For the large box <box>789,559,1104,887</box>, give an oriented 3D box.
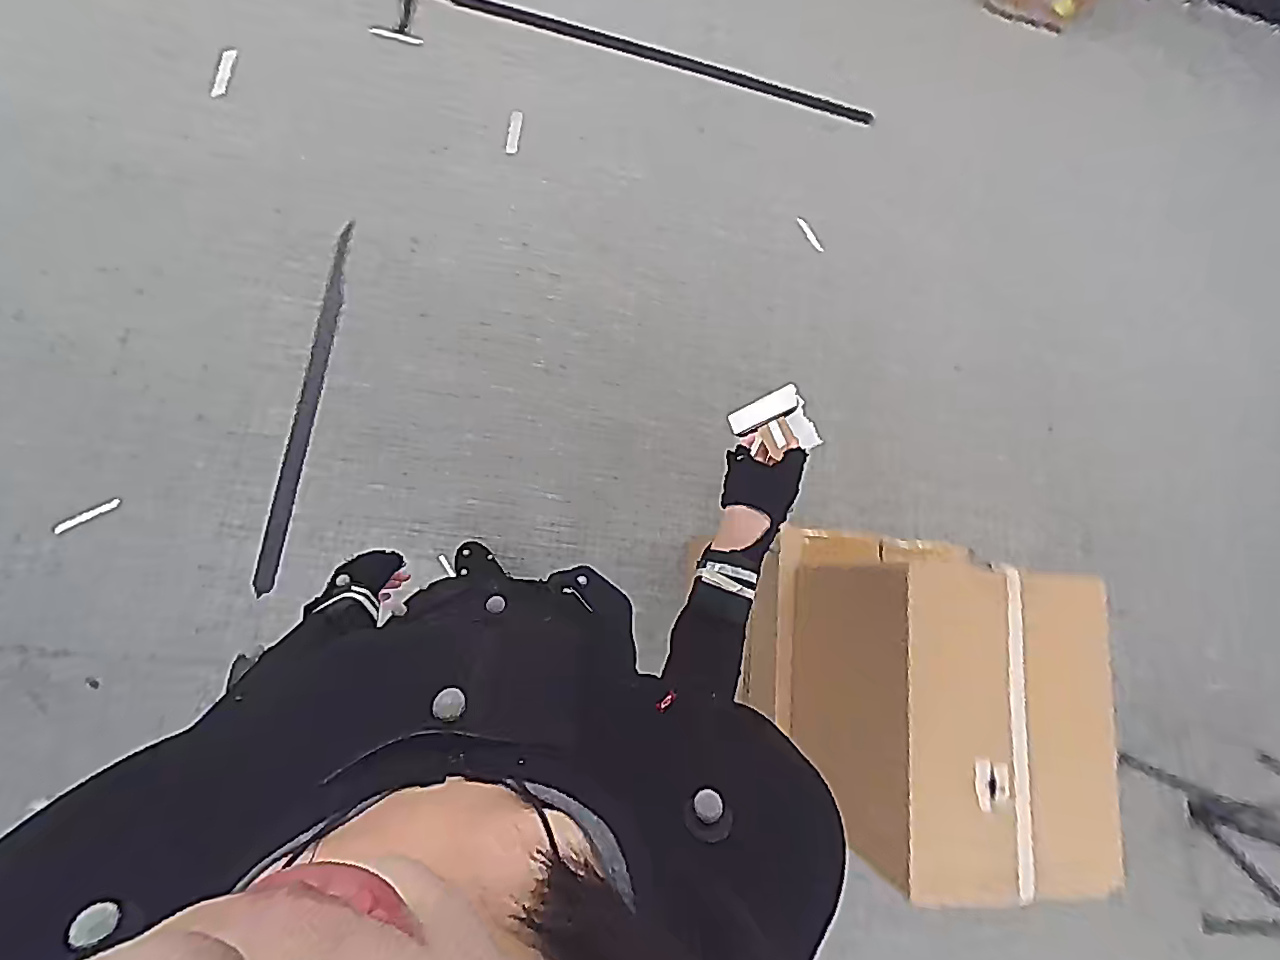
[{"bbox_3d":[0.449,0.335,0.860,0.320,0.320,0.408,6,81,-10],"label":"large box"}]
